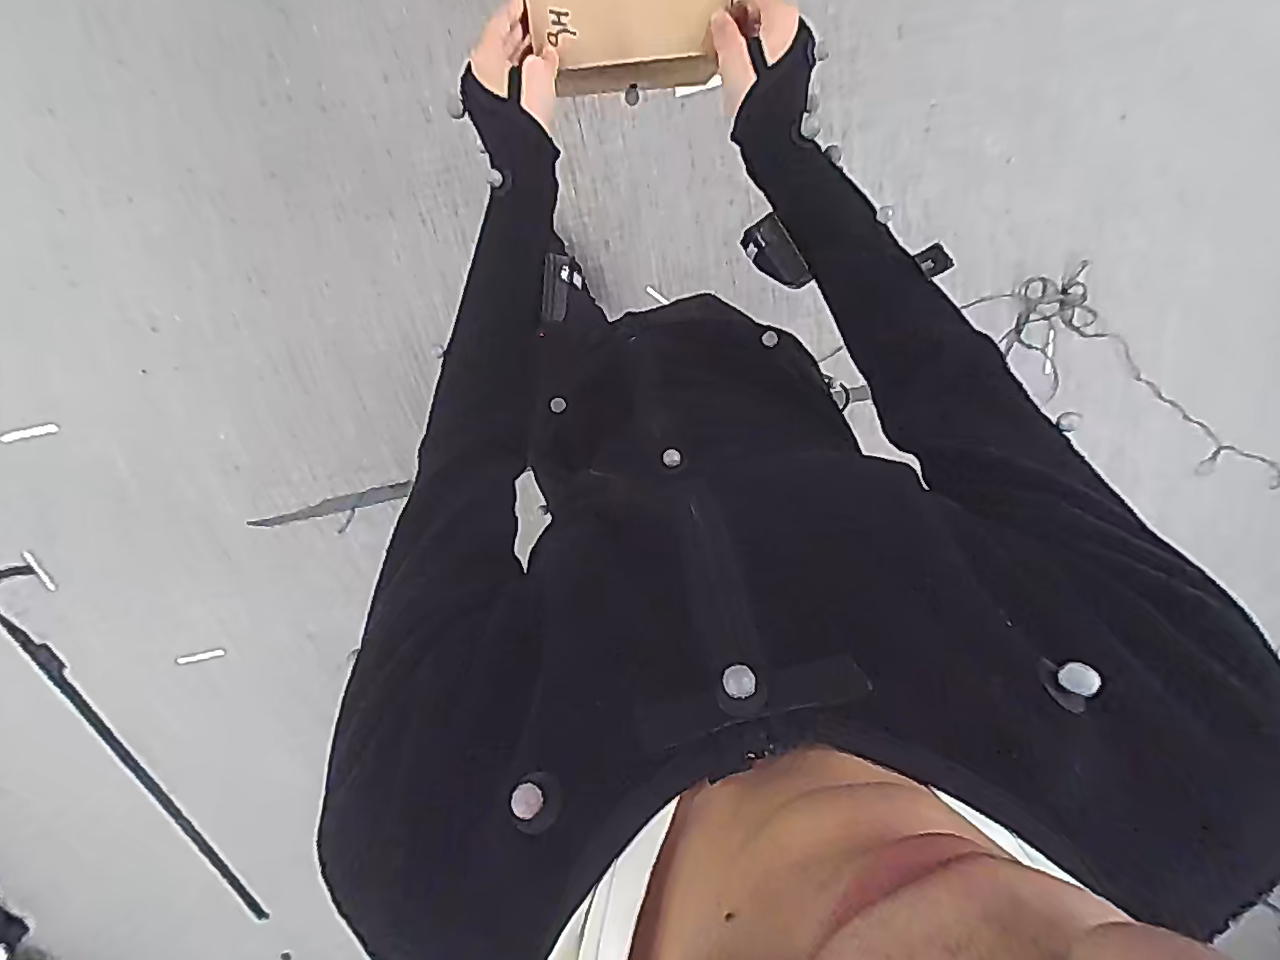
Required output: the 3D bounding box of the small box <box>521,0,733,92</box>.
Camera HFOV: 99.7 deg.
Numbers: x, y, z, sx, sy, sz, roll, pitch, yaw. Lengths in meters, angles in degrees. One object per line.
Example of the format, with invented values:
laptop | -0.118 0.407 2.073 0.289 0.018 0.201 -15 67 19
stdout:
small box | -0.017 -0.468 0.490 0.179 0.176 0.168 -5 118 0
